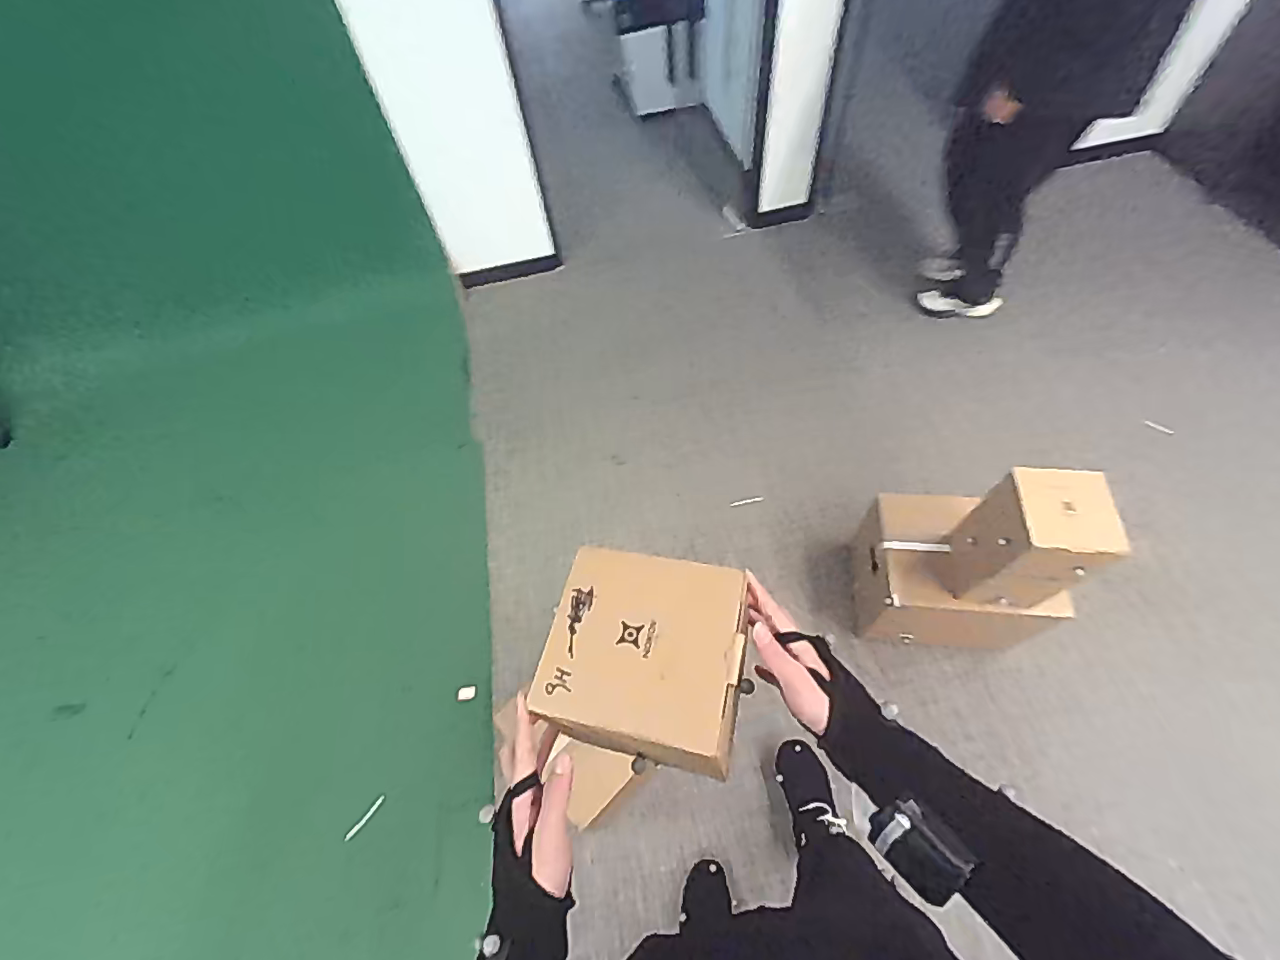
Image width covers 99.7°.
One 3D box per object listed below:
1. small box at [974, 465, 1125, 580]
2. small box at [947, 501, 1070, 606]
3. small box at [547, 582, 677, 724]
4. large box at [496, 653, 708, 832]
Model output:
[{"bbox_3d":[0.807,0.091,1.088,0.168,0.176,0.179,4,59,7],"label":"small box"},{"bbox_3d":[0.824,0.169,1.231,0.168,0.176,0.179,5,61,9],"label":"small box"},{"bbox_3d":[-0.047,0.330,1.021,0.179,0.176,0.168,-37,62,-16],"label":"small box"},{"bbox_3d":[-0.072,0.582,1.353,0.408,0.320,0.320,-42,62,-18],"label":"large box"}]
